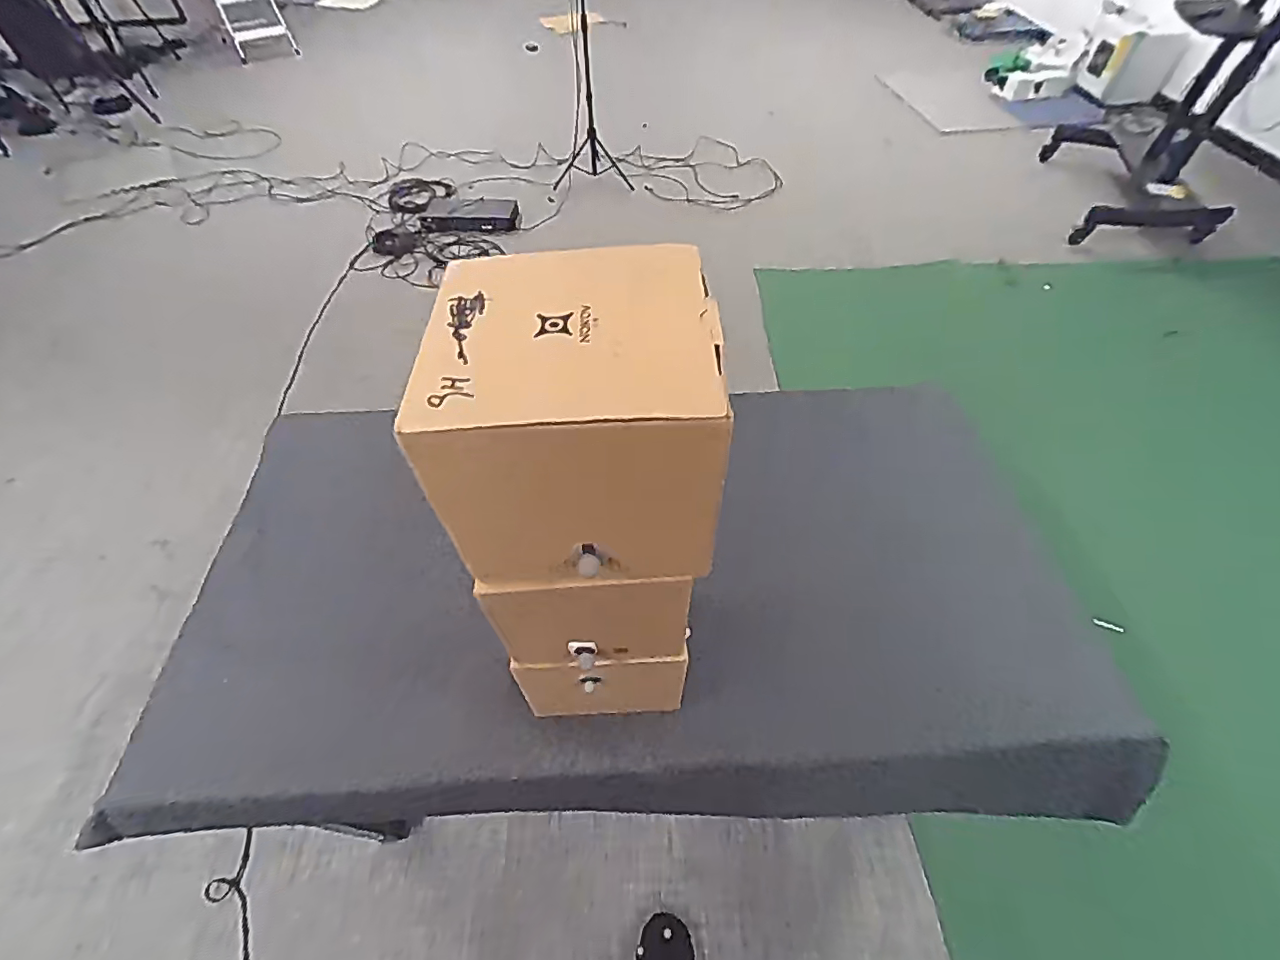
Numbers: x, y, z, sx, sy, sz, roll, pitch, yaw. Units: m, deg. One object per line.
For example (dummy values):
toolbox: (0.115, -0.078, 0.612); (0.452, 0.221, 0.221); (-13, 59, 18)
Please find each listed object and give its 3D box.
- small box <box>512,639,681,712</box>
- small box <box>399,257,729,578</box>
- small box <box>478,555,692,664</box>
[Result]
small box: (-0.046, 0.175, 0.659); (0.179, 0.176, 0.168); (-2, 53, -2)
small box: (-0.041, -0.040, 0.393); (0.179, 0.176, 0.168); (-2, 51, -1)
small box: (-0.046, 0.060, 0.523); (0.168, 0.176, 0.179); (-4, 53, -1)
